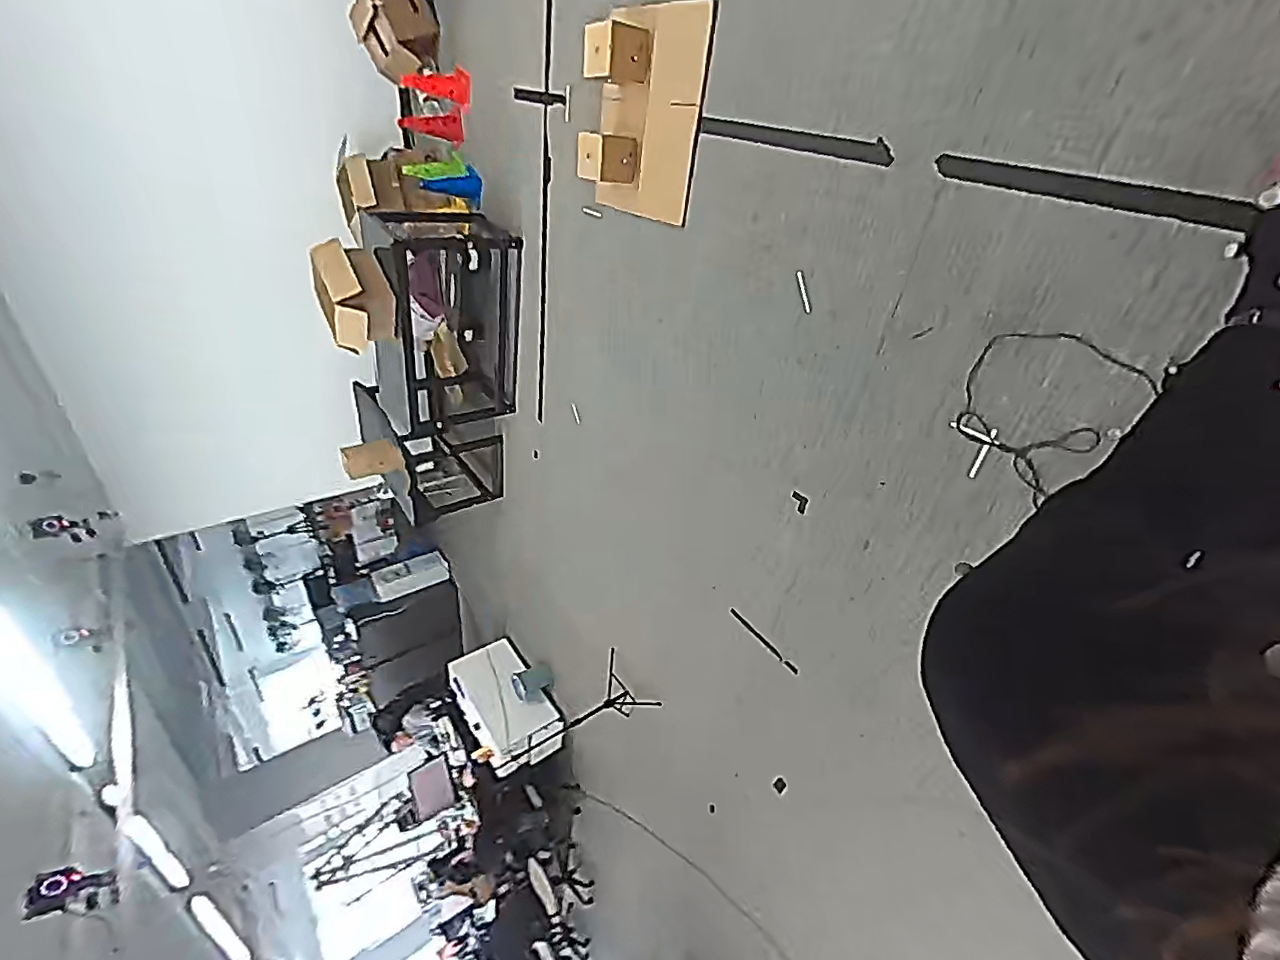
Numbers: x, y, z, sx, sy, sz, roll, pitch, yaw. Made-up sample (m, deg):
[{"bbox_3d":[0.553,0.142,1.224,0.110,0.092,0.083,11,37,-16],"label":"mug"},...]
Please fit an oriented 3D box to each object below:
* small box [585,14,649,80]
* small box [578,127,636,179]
[{"bbox_3d":[-0.089,-1.641,2.060,0.179,0.176,0.168,35,131,41],"label":"small box"},{"bbox_3d":[-0.138,-1.354,2.242,0.179,0.176,0.168,38,134,39],"label":"small box"}]
